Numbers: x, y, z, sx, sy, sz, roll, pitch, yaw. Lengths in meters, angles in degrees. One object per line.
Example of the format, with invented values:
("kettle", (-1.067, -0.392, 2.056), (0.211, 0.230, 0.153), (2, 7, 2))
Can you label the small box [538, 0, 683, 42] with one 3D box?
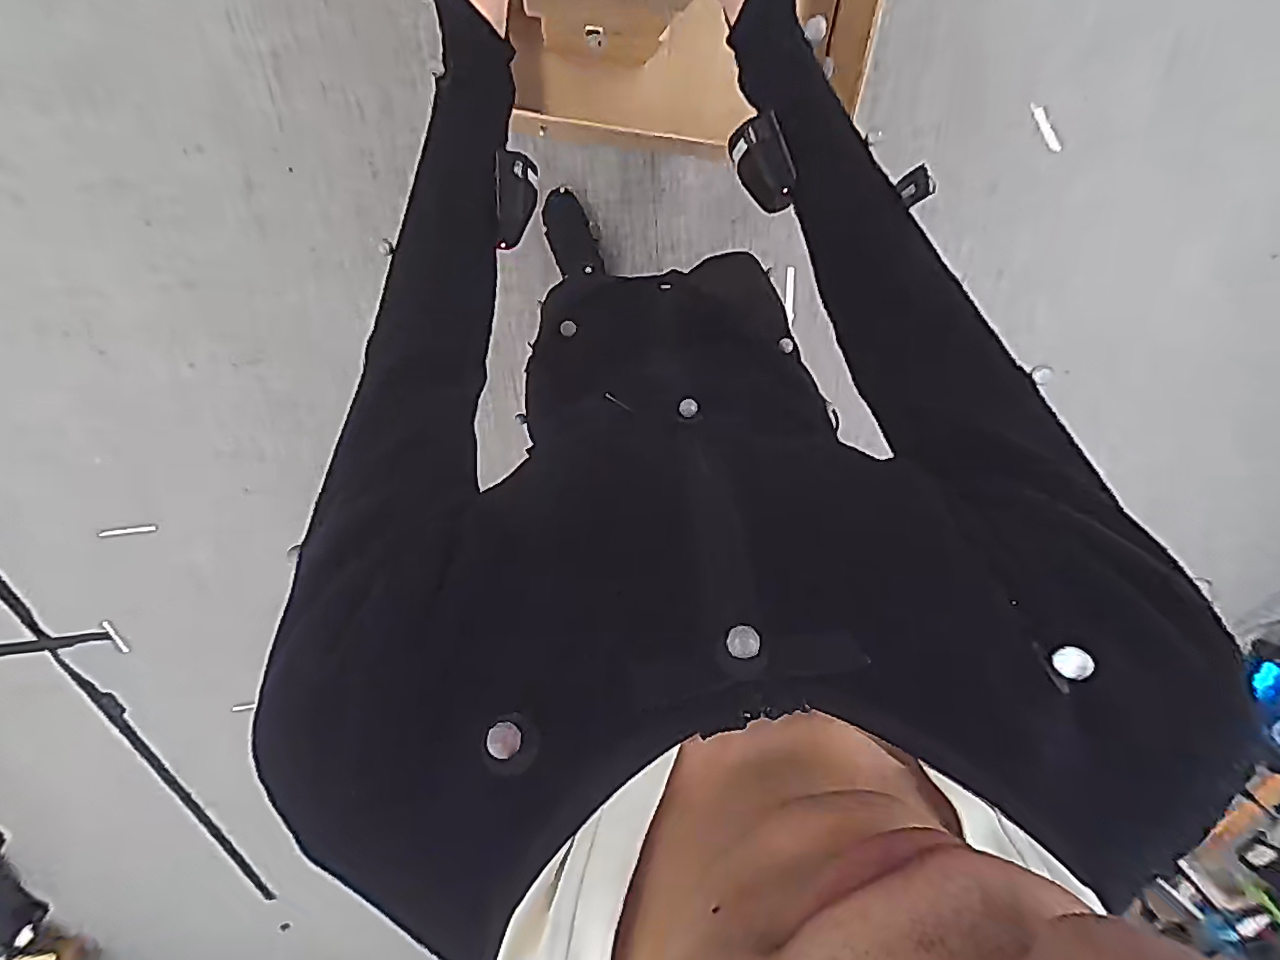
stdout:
("small box", (-0.042, -0.656, 0.644), (0.168, 0.176, 0.179), (-4, 119, -8))

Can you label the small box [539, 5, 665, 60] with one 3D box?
("small box", (-0.059, -0.734, 0.788), (0.179, 0.176, 0.168), (-2, 120, -10))
